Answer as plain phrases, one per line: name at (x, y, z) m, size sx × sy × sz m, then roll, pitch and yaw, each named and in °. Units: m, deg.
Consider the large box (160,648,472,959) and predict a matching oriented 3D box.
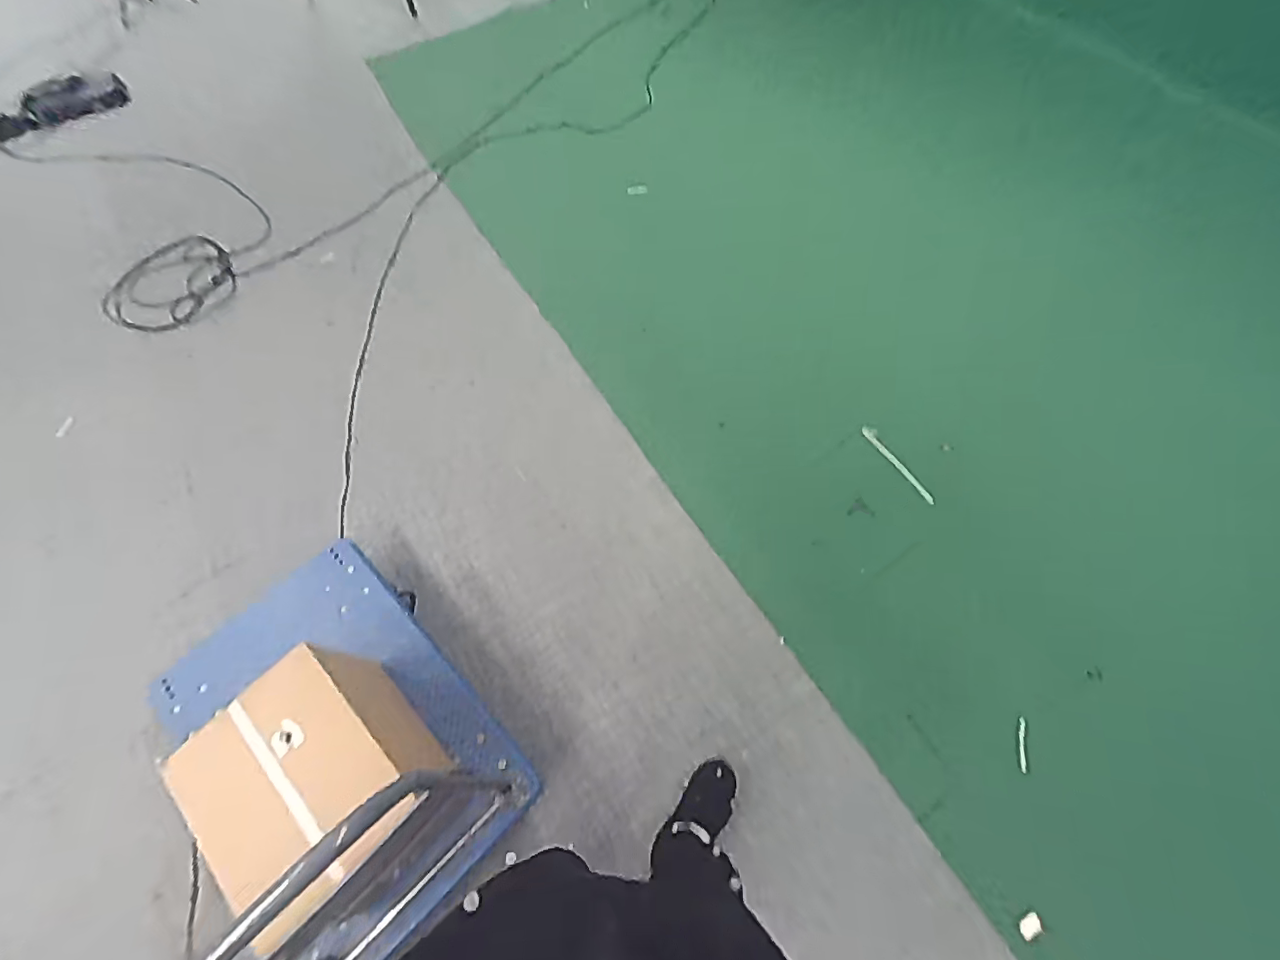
large box at (-0.623, 0.614, 1.096) m, size 0.408 × 0.320 × 0.320 m, roll 40°, pitch 72°, yaw 21°
